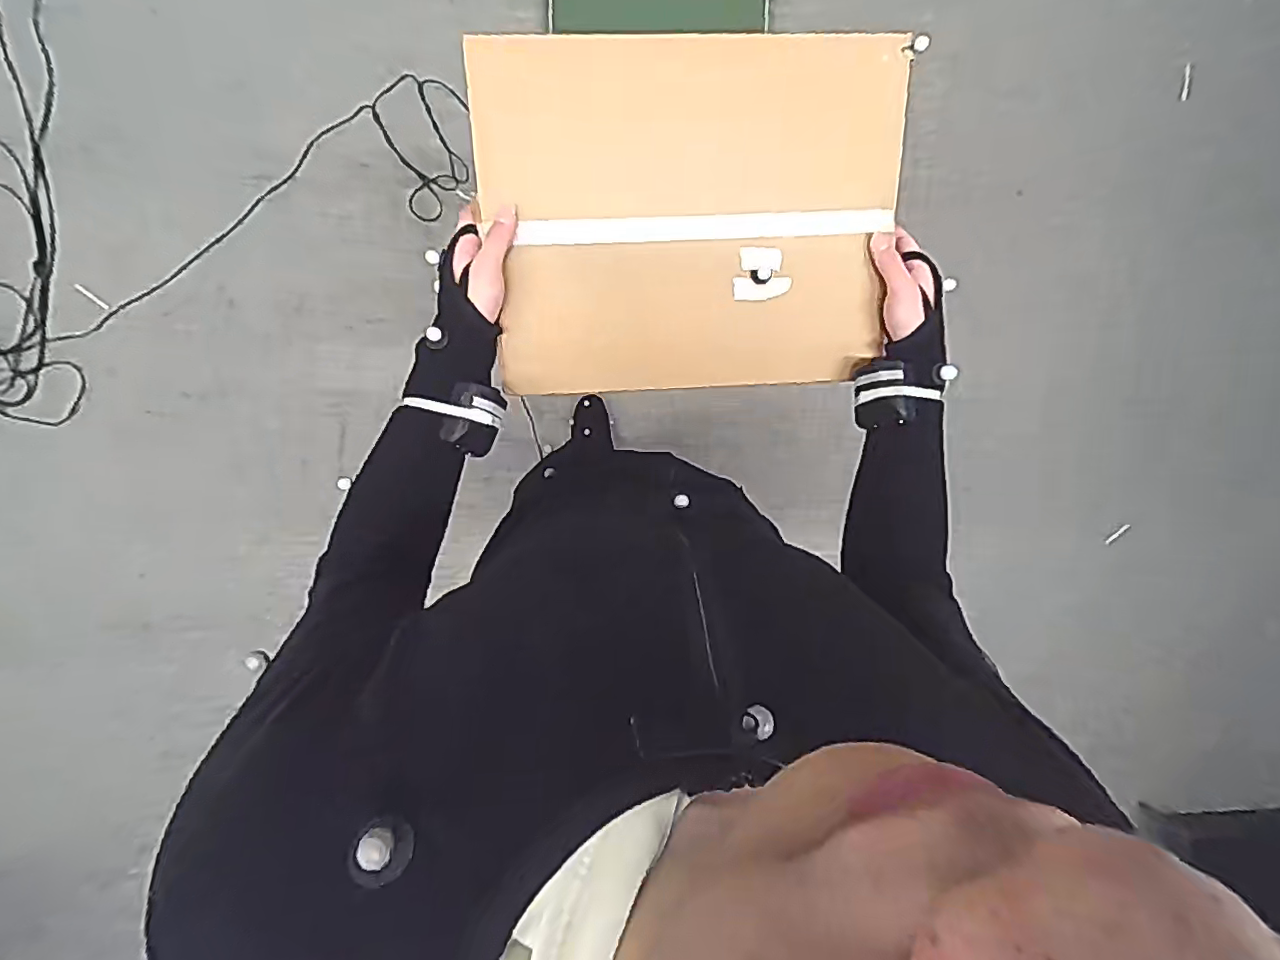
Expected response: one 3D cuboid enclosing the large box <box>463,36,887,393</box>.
[{"bbox_3d":[0.031,-0.297,0.681,0.408,0.320,0.320,-4,108,-4],"label":"large box"}]
